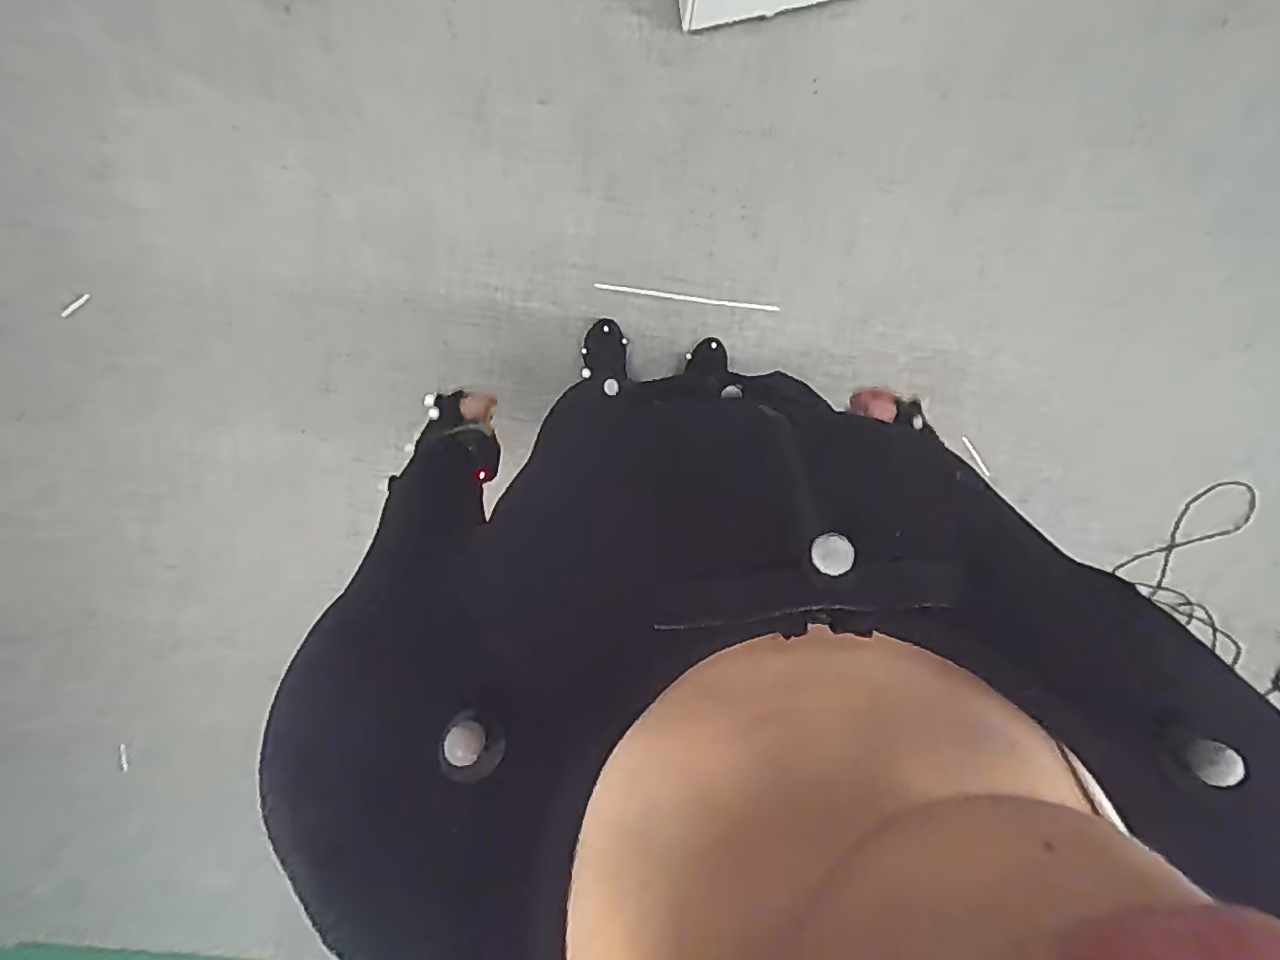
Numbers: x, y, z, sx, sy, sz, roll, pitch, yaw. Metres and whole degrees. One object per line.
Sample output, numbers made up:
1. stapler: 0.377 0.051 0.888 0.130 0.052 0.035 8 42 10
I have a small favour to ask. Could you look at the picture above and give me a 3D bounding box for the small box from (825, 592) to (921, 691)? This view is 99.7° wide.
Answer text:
1. small box: 0.647 0.450 1.529 0.179 0.176 0.168 -30 103 7
